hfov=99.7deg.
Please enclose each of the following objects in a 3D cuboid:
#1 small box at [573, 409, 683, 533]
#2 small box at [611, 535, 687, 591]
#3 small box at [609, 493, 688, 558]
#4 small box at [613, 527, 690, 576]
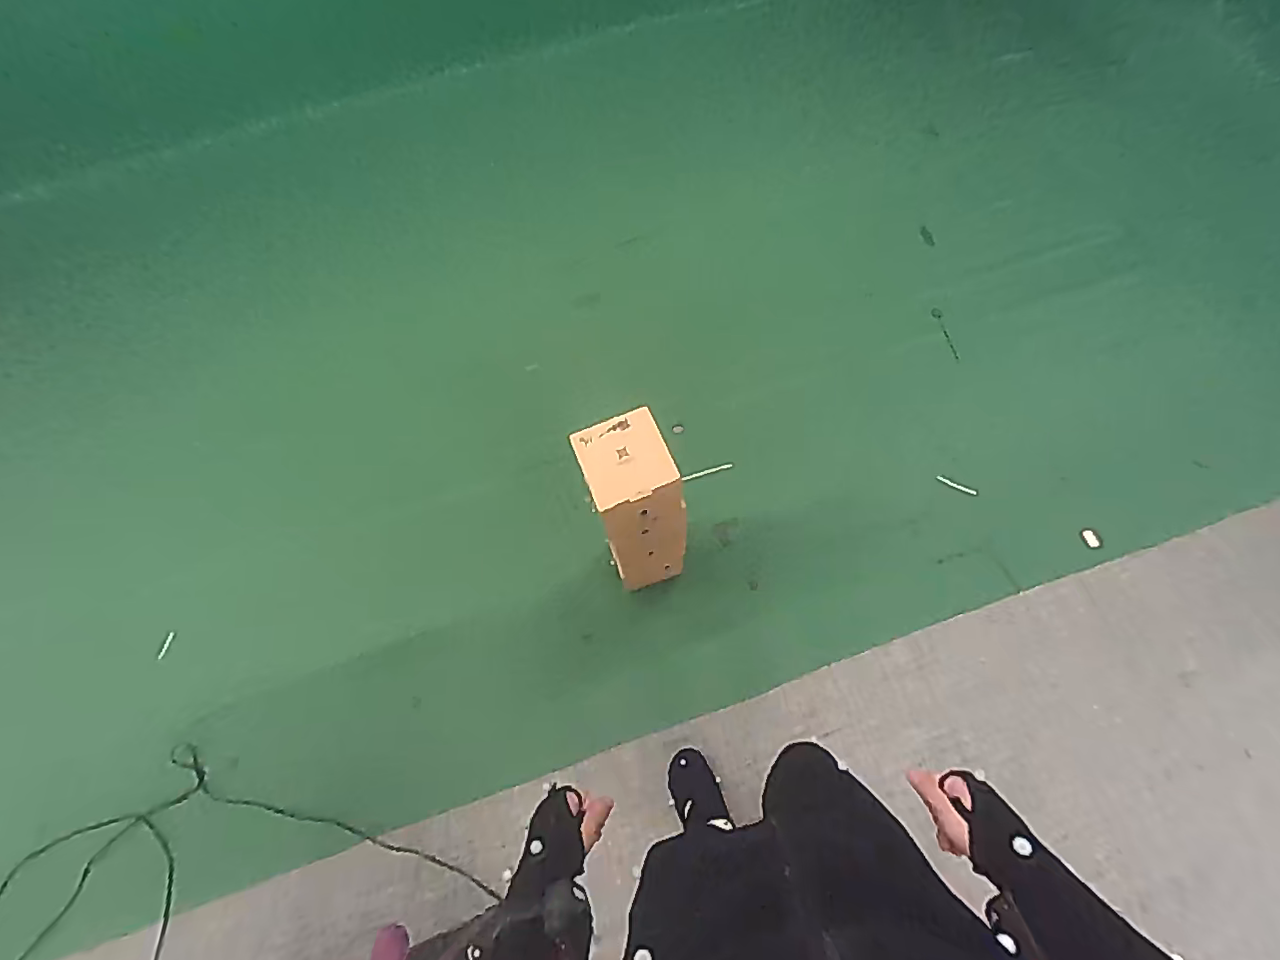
[{"bbox_3d":[-0.018,-0.008,1.089,0.168,0.176,0.179,-21,67,-5],"label":"small box"},{"bbox_3d":[0.024,0.198,1.532,0.179,0.176,0.168,-19,65,-4],"label":"small box"},{"bbox_3d":[0.001,0.058,1.238,0.179,0.176,0.168,-23,66,-6],"label":"small box"},{"bbox_3d":[0.017,0.127,1.386,0.179,0.176,0.168,-22,66,-5],"label":"small box"}]
